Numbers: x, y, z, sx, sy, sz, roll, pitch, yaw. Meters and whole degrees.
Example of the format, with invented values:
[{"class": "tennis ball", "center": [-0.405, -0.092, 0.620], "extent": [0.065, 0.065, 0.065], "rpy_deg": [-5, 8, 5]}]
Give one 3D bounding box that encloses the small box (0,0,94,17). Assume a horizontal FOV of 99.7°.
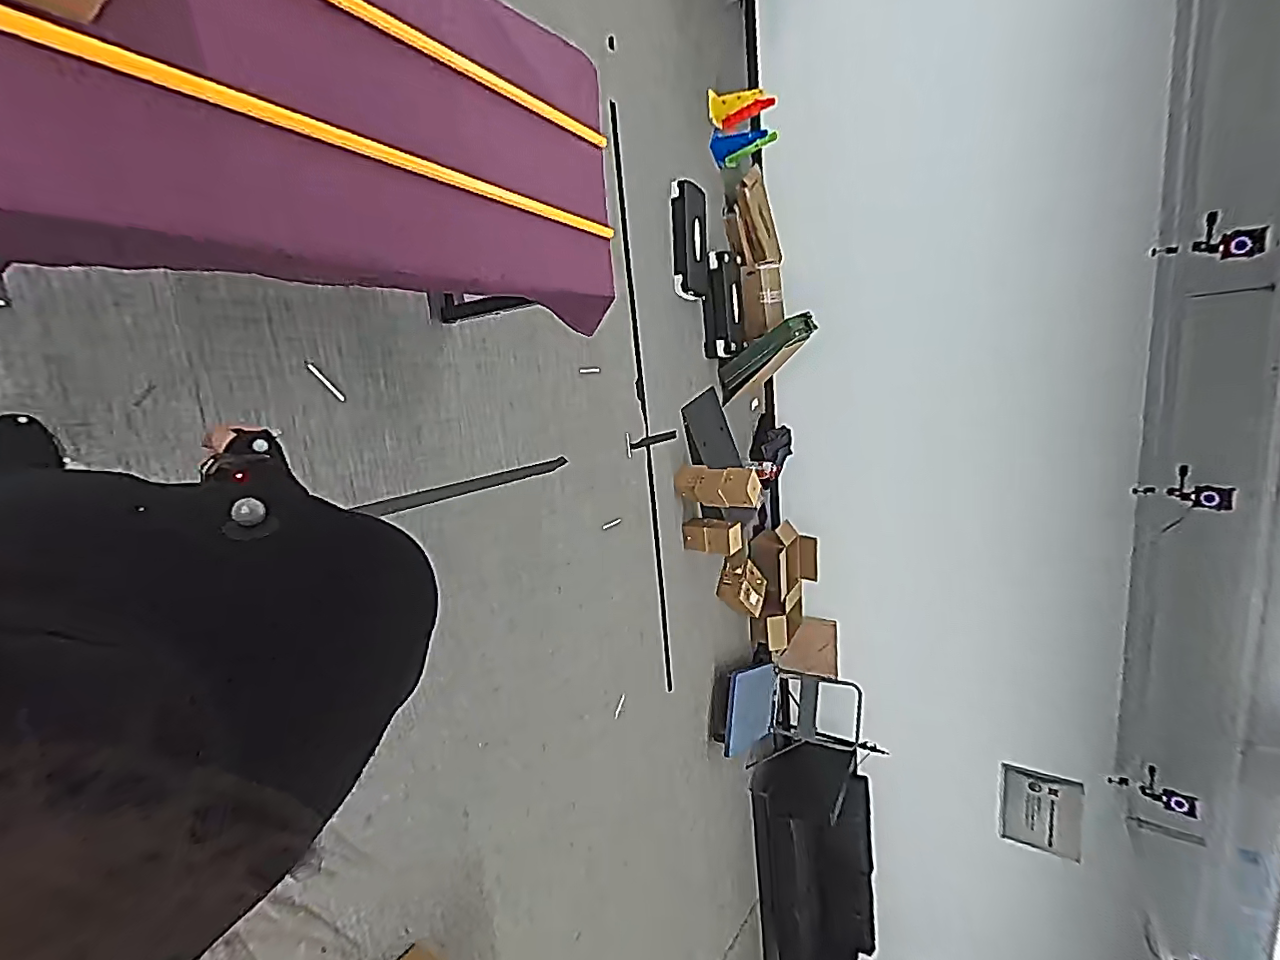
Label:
[{"class": "small box", "center": [-0.685, -0.623, 0.550], "extent": [0.179, 0.176, 0.168], "rpy_deg": [-25, 112, -54]}]
